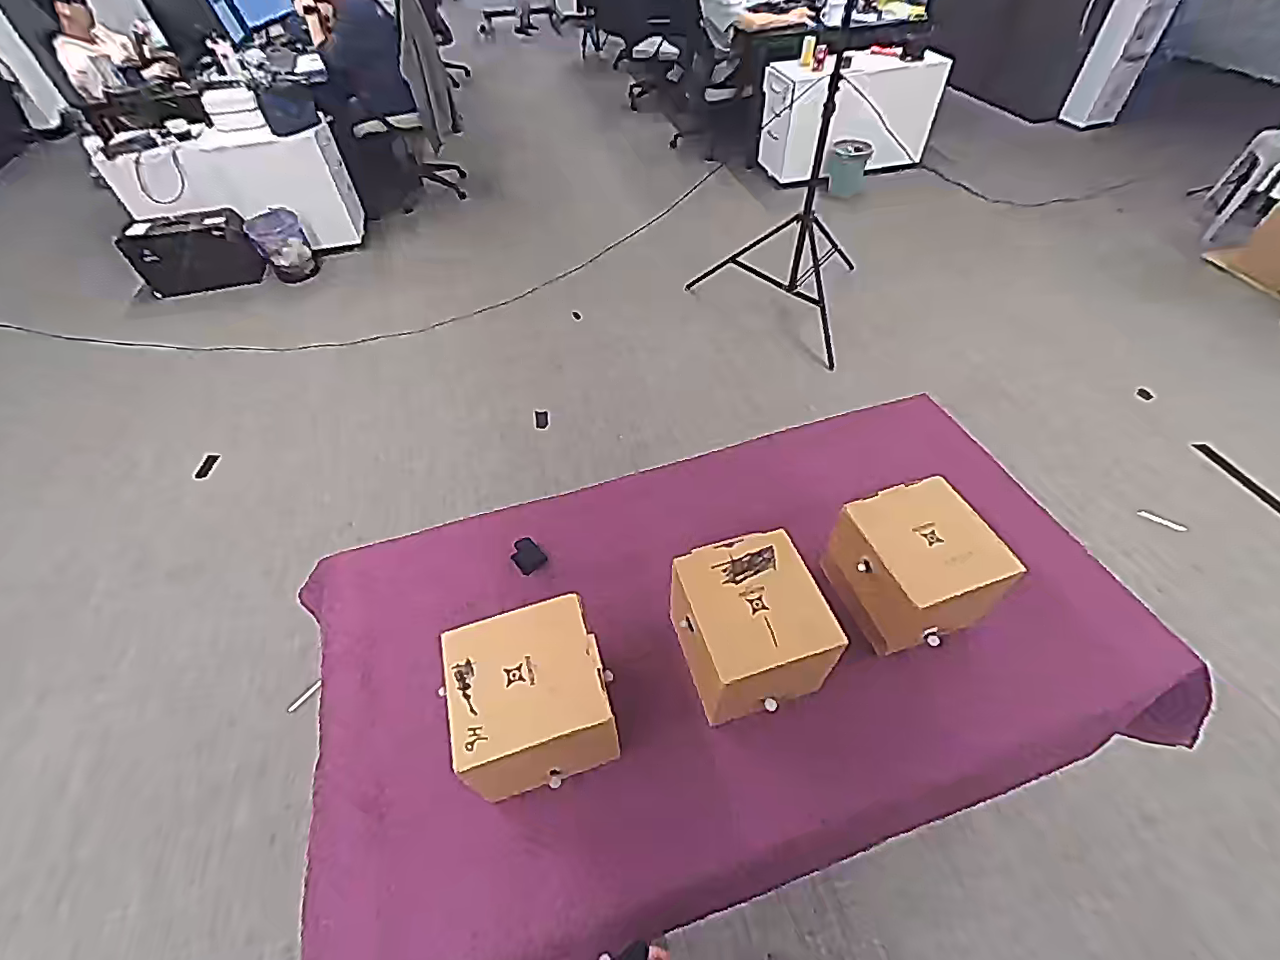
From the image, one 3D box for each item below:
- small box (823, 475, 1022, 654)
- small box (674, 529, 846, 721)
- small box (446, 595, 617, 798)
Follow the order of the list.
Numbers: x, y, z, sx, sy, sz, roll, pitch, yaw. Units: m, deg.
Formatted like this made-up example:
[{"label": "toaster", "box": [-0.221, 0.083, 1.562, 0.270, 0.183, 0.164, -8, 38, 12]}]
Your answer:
[{"label": "small box", "box": [0.397, 0.126, 0.801, 0.168, 0.176, 0.179, -17, 52, -10]}, {"label": "small box", "box": [0.148, 0.201, 0.746, 0.168, 0.176, 0.179, -15, 51, -10]}, {"label": "small box", "box": [-0.133, 0.278, 0.692, 0.179, 0.176, 0.168, -14, 50, -11]}]
